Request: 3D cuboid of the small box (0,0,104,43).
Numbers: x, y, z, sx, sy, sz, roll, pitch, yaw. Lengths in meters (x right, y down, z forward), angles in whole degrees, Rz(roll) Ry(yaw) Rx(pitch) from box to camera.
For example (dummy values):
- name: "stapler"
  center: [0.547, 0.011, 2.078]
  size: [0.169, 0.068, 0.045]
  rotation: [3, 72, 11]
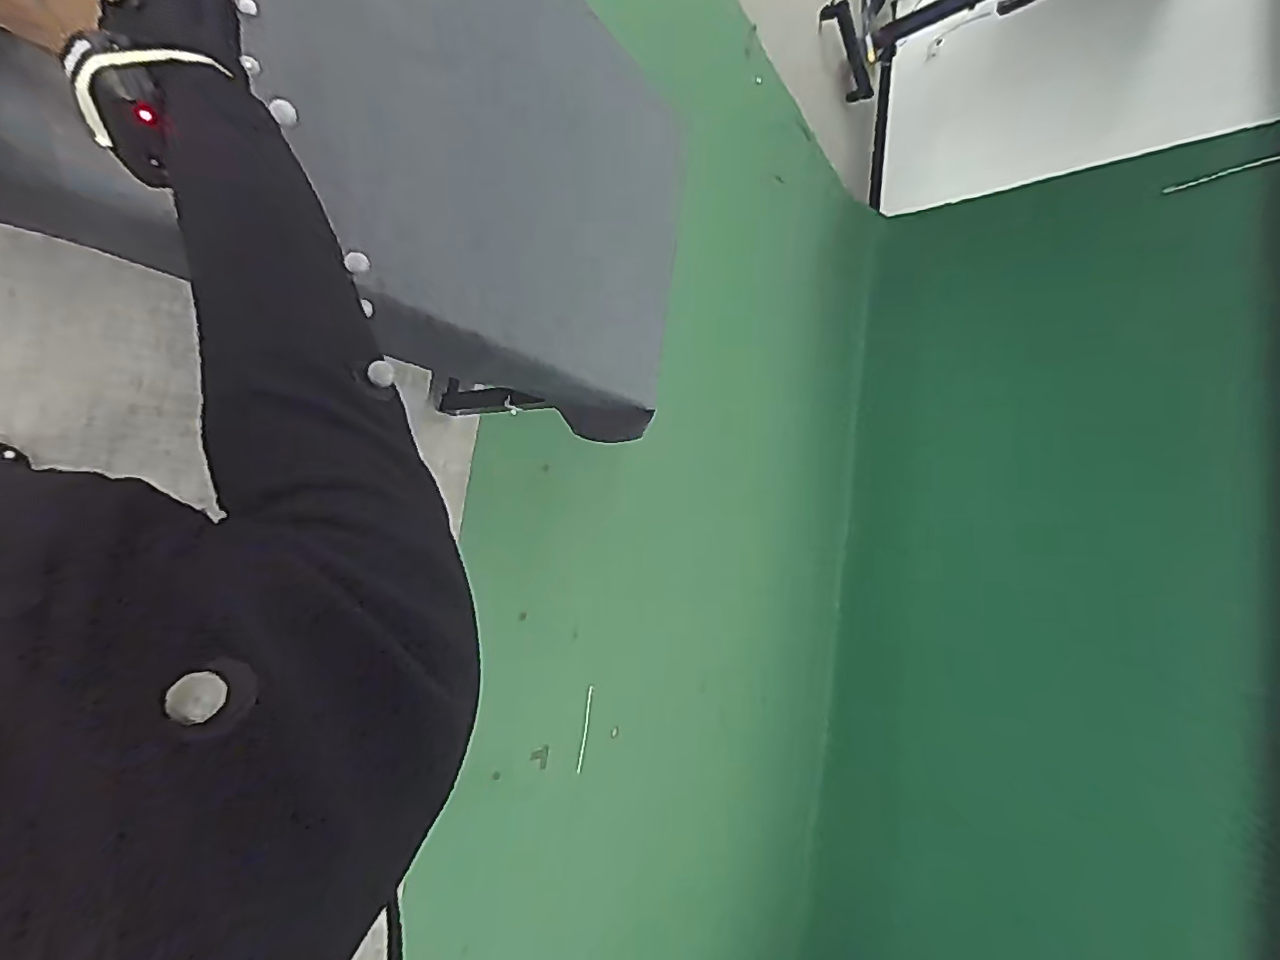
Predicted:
- name: "small box"
  center: [-0.465, -0.442, 0.354]
  size: [0.179, 0.176, 0.168]
  rotation: [5, 86, -50]
